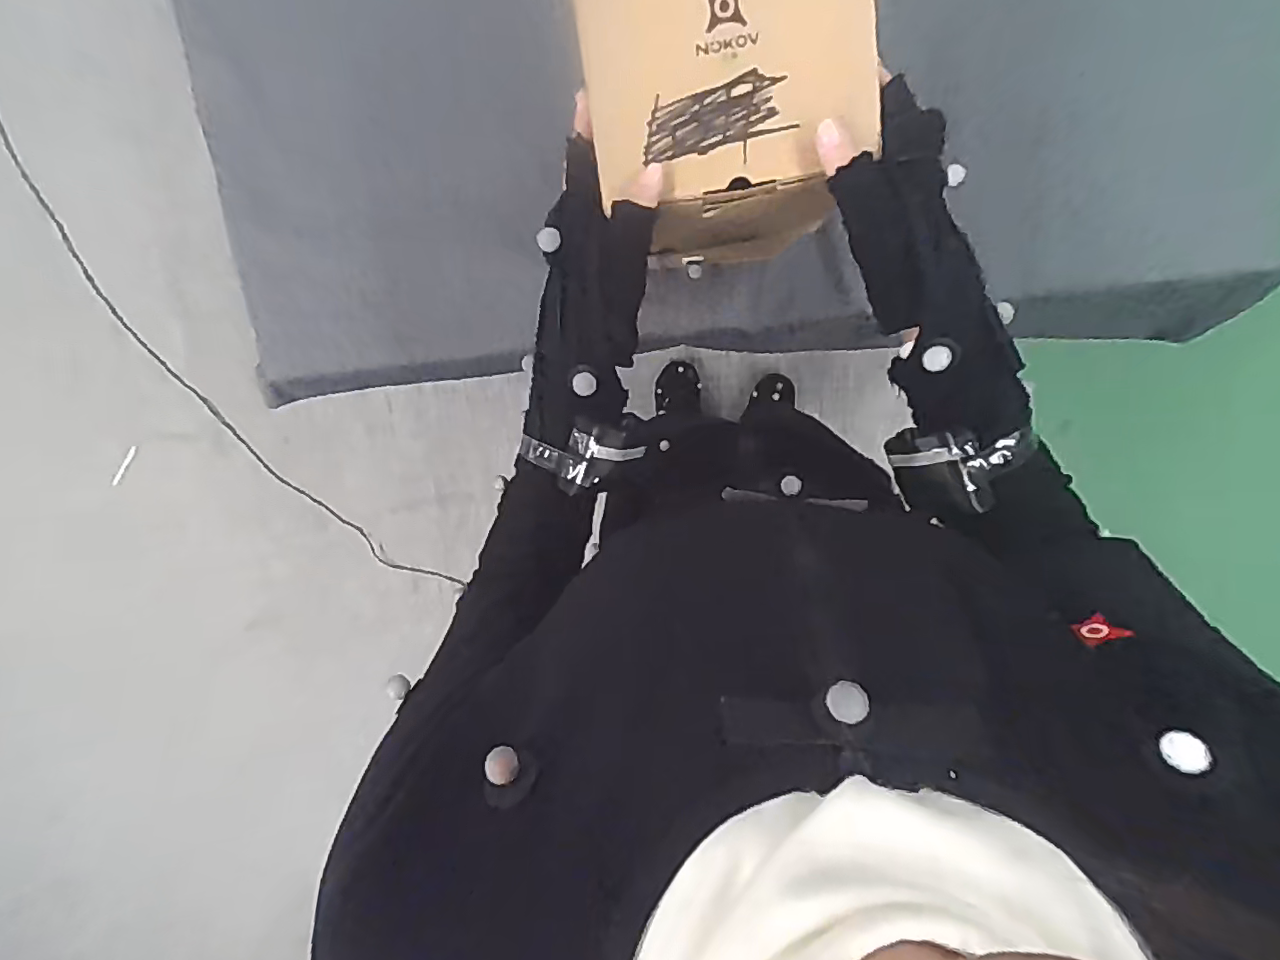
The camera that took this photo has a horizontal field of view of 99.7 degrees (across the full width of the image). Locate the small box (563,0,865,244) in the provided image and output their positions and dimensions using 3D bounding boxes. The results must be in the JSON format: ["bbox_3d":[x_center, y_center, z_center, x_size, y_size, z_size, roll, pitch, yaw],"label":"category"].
[{"bbox_3d":[0.046,-0.278,0.380,0.168,0.176,0.179,-7,101,6],"label":"small box"}]

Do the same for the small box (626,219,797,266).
[{"bbox_3d":[0.059,-0.326,0.539,0.168,0.176,0.179,-4,103,6],"label":"small box"}]
